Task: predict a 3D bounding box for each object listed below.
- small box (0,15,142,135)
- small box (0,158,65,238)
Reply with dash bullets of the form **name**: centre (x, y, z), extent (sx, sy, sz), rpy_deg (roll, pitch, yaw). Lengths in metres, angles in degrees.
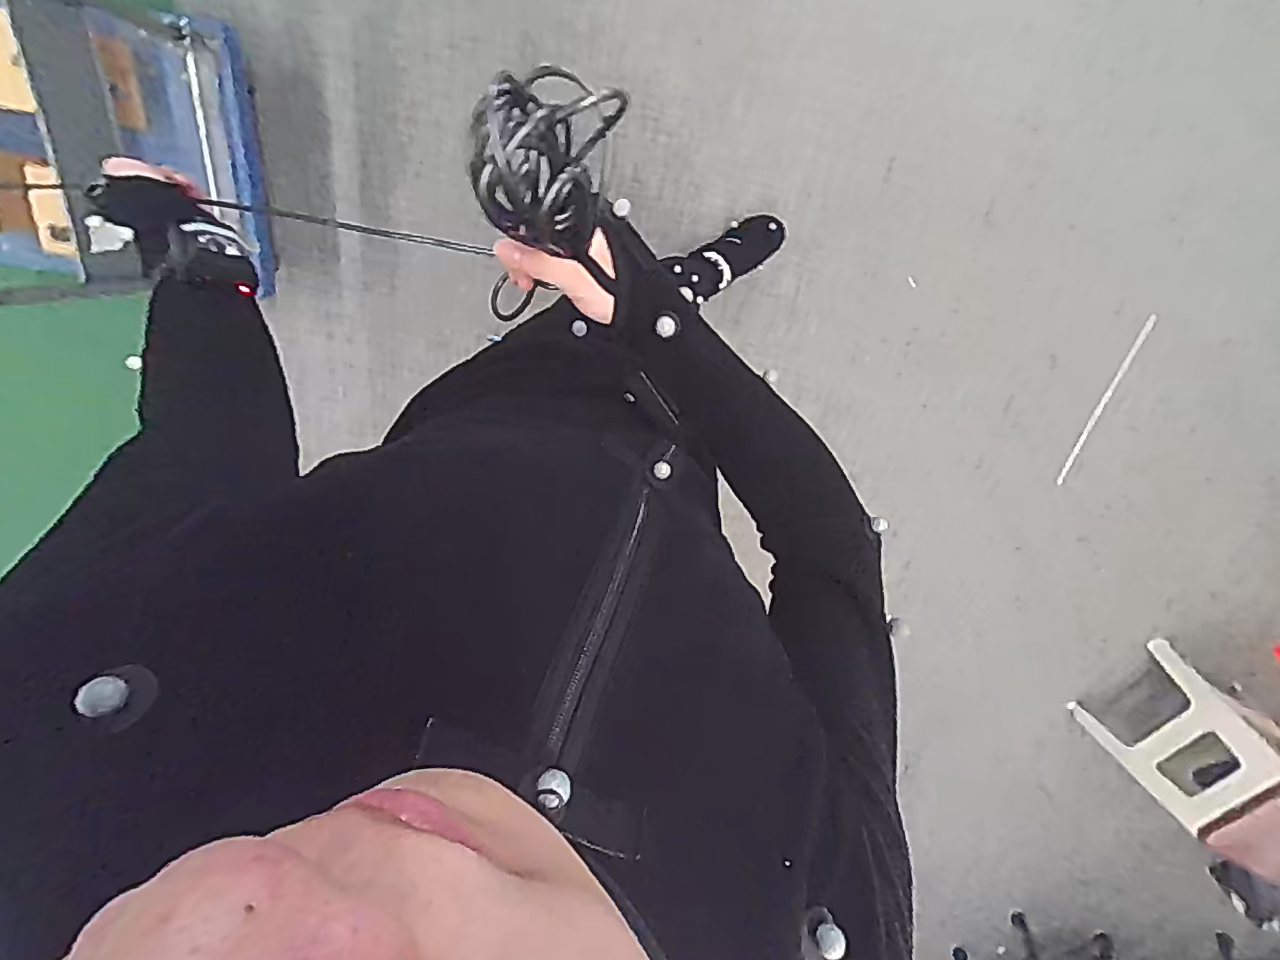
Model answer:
- **small box**: centre (-1.216, -0.841, 1.133), extent (0.179, 0.176, 0.168), rpy_deg (9, 114, 1)
- **small box**: centre (-1.496, -0.652, 1.243), extent (0.179, 0.176, 0.168), rpy_deg (5, 113, 3)
